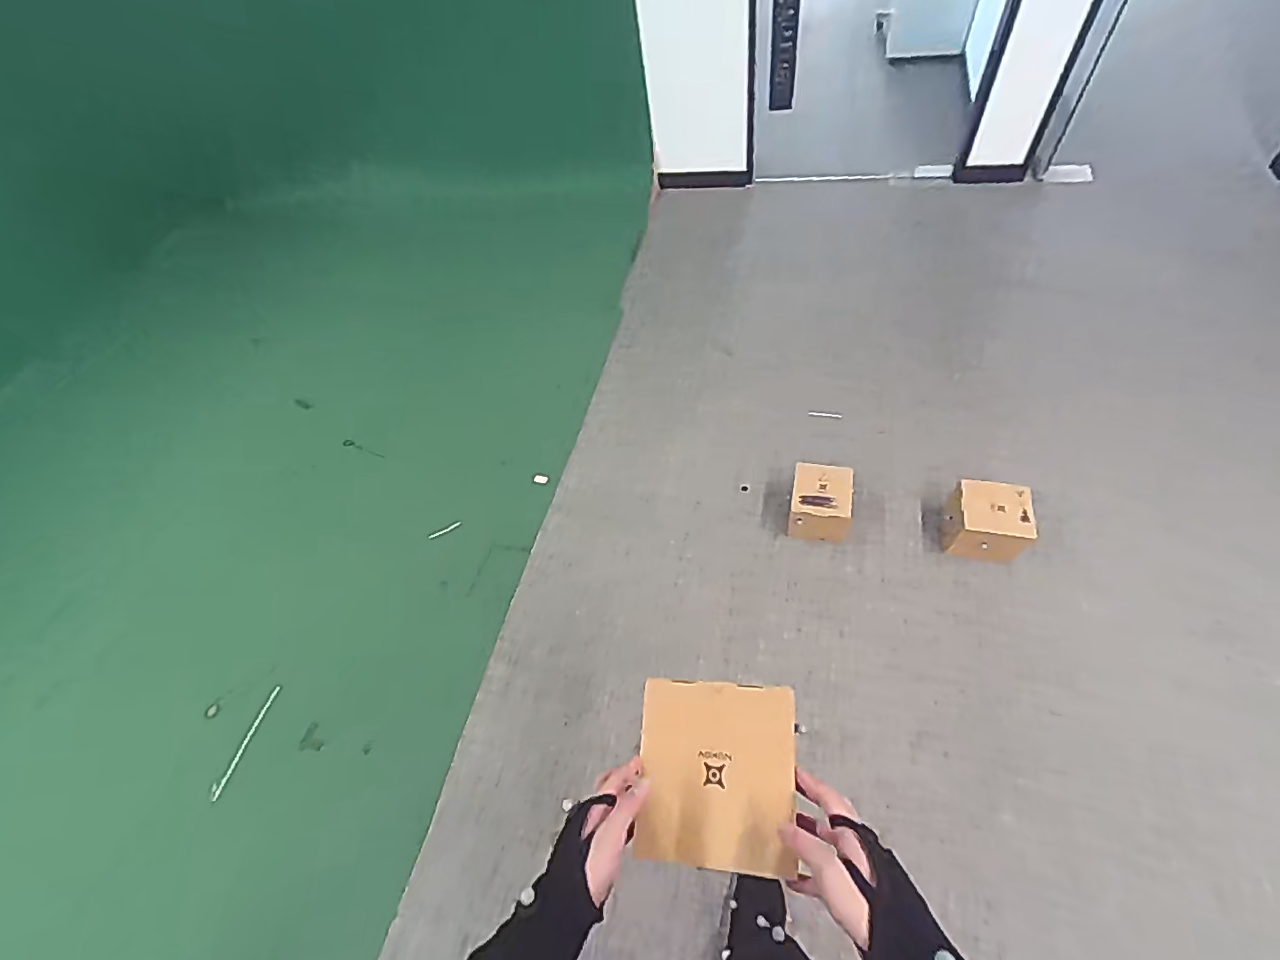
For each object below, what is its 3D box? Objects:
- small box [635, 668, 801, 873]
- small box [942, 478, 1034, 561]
[{"bbox_3d":[0.099,0.325,0.629,0.168,0.176,0.179,-1,63,13],"label":"small box"},{"bbox_3d":[0.971,0.115,1.529,0.179,0.176,0.168,7,59,15],"label":"small box"}]
